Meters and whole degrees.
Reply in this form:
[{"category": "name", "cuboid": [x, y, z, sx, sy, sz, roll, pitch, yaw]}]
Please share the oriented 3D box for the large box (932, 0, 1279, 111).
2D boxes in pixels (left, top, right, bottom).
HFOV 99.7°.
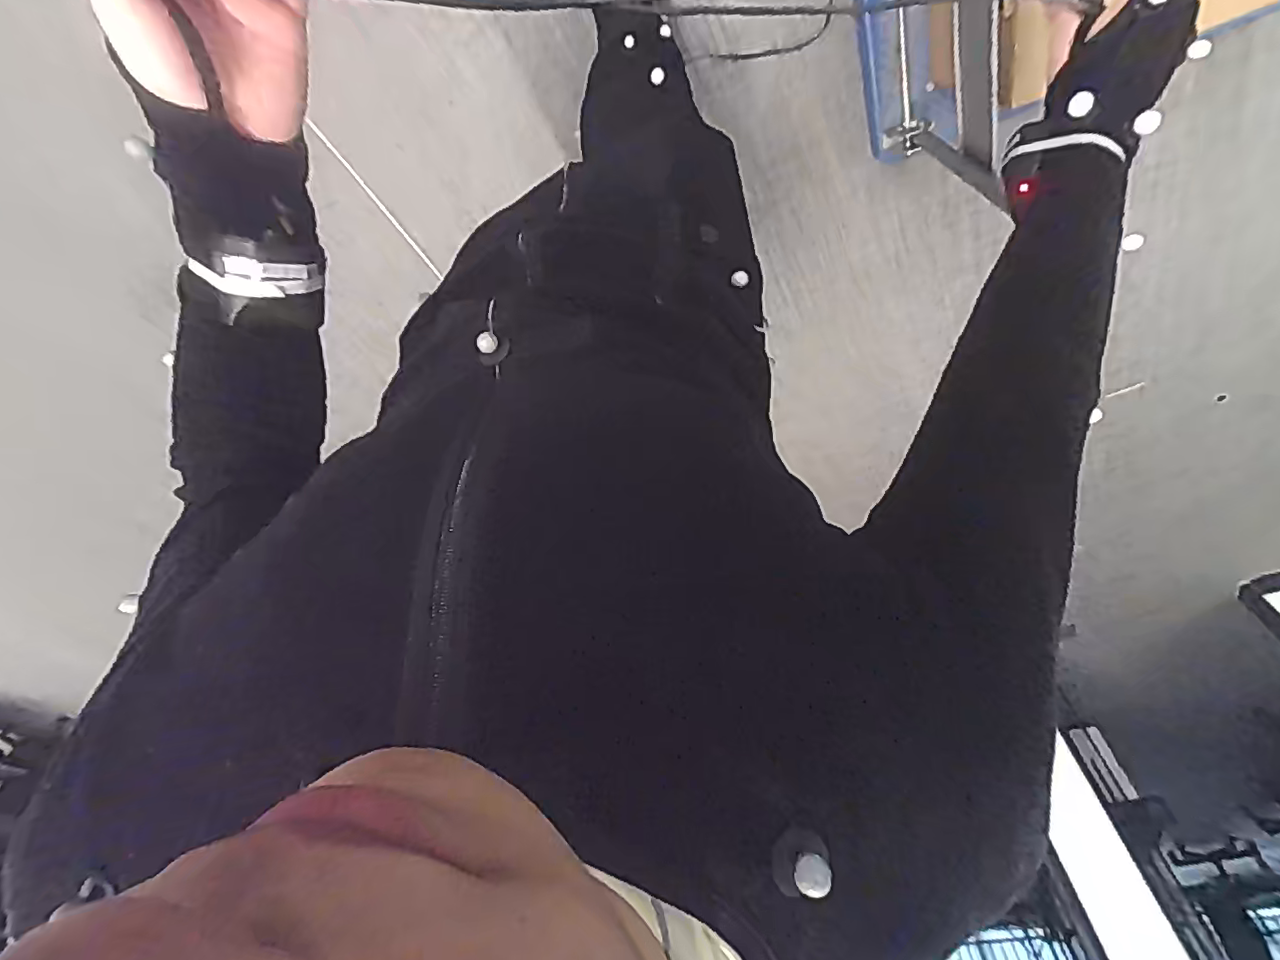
[{"category": "large box", "cuboid": [0.690, -0.818, 0.790, 0.408, 0.320, 0.320, -17, 130, 14]}]
